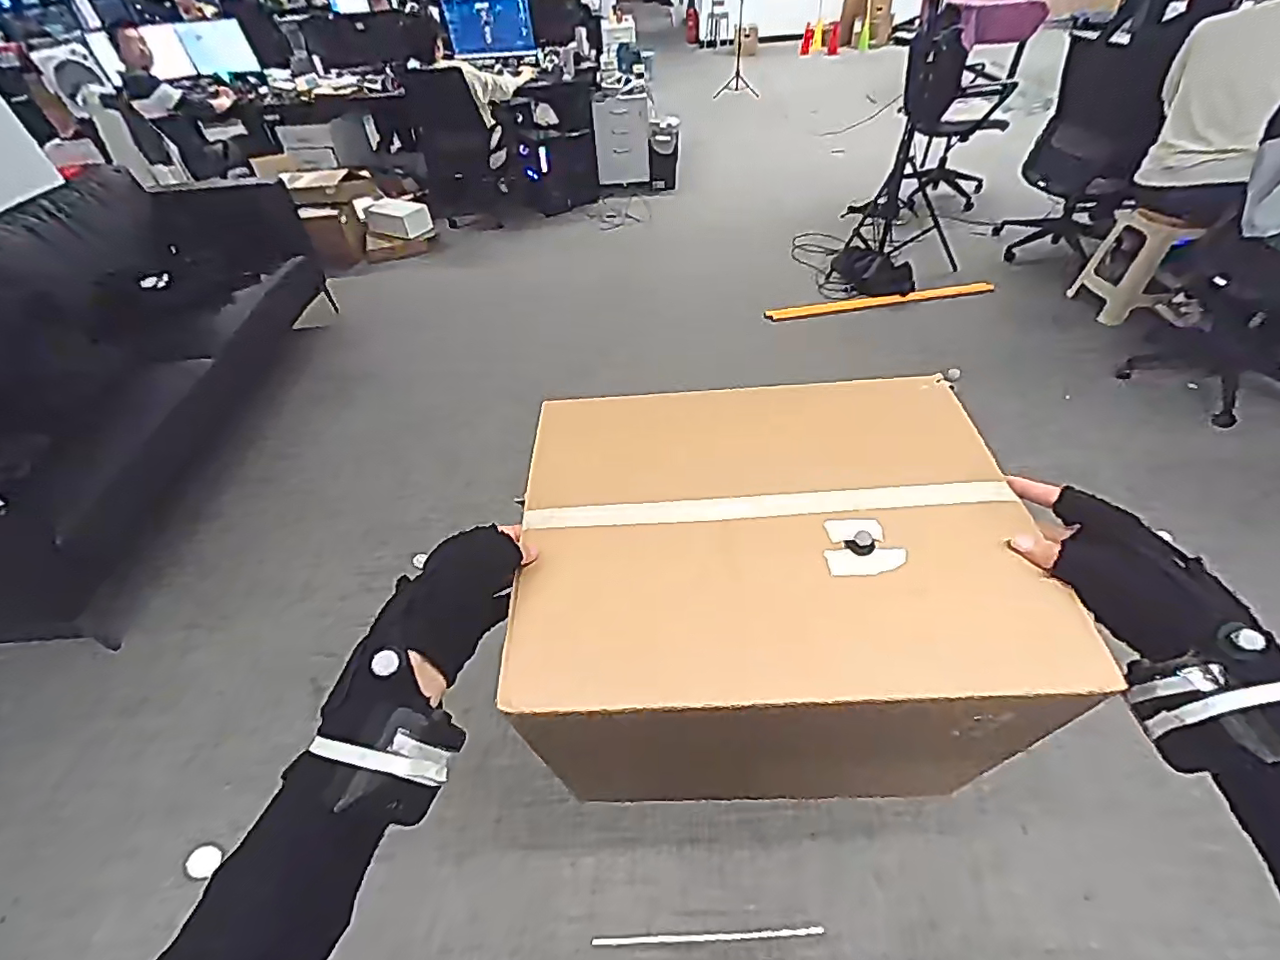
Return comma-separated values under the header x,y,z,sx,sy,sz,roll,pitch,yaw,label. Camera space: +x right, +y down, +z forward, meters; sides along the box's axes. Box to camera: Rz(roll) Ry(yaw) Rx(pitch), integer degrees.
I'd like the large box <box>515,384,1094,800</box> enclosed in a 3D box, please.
x,y,z,sx,sy,sz,roll,pitch,yaw,label
0.116,0.128,0.576,0.408,0.320,0.320,-4,50,3,large box
